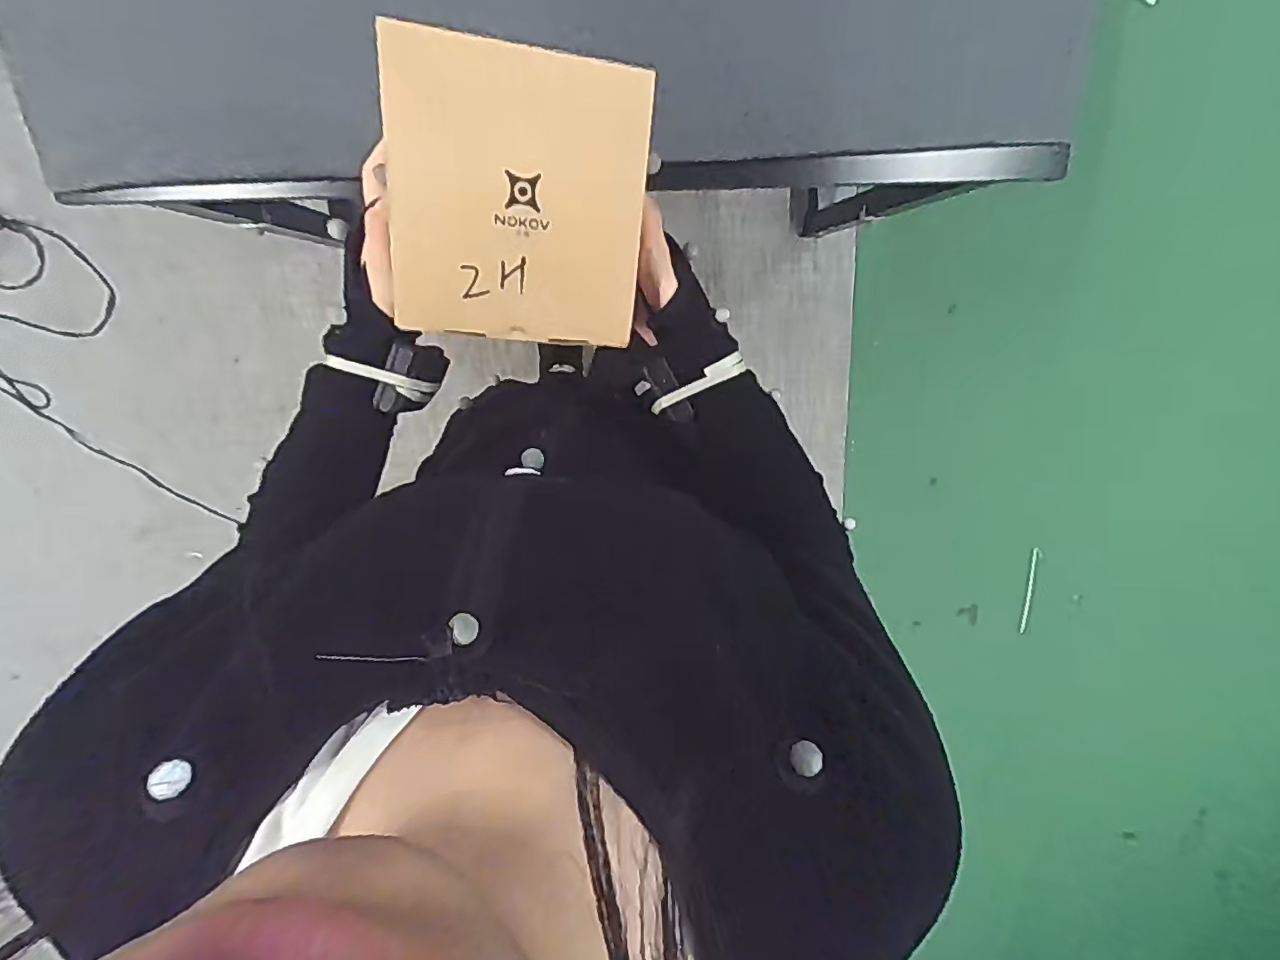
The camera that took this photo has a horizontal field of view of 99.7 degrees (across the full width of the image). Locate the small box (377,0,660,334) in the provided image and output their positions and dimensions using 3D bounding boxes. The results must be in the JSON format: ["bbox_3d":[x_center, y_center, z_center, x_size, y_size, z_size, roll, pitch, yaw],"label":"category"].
[{"bbox_3d":[-0.091,-0.216,0.414,0.168,0.176,0.179,2,111,-12],"label":"small box"}]
